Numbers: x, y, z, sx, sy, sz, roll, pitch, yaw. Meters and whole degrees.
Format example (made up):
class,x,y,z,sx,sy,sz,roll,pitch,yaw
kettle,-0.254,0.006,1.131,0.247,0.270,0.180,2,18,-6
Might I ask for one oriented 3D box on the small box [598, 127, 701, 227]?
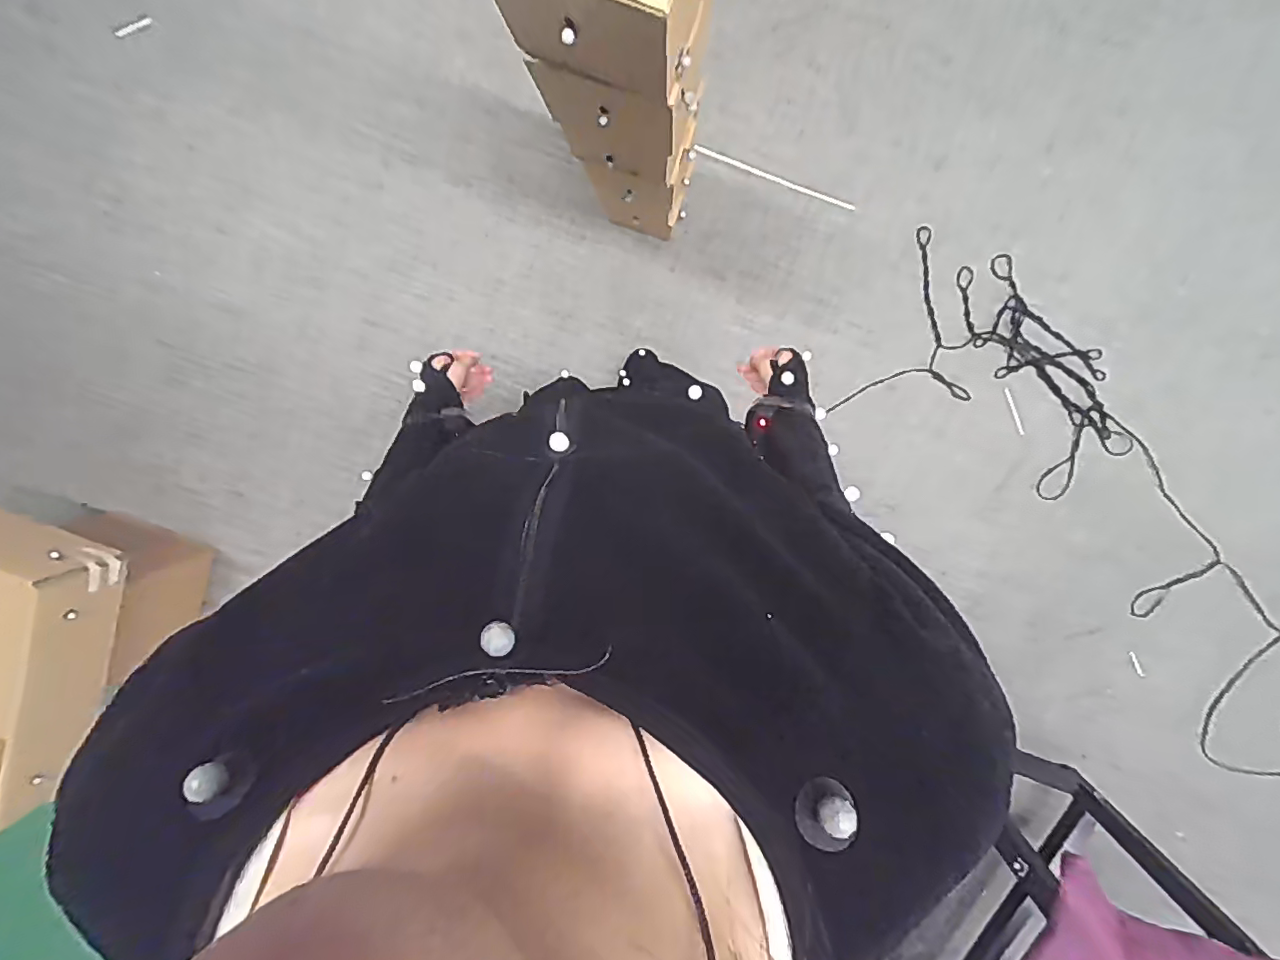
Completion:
class,x,y,z,sx,sy,sz,roll,pitch,yaw
small box,0.012,-0.650,1.125,0.179,0.176,0.168,19,102,-2

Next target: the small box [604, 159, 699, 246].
class,x,y,z,sx,sy,sz,roll,pitch,yaw
small box,0.026,-0.678,1.286,0.179,0.176,0.168,19,101,-3

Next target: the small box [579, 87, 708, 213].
class,x,y,z,sx,sy,sz,roll,pitch,yaw
small box,0.006,-0.602,0.969,0.179,0.176,0.168,17,102,-2

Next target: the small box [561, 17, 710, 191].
class,x,y,z,sx,sy,sz,roll,pitch,yaw
small box,-0.006,-0.568,0.810,0.168,0.176,0.179,17,103,-1

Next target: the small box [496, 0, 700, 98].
class,x,y,z,sx,sy,sz,roll,pitch,yaw
small box,-0.028,-0.490,0.492,0.179,0.176,0.168,20,103,0
